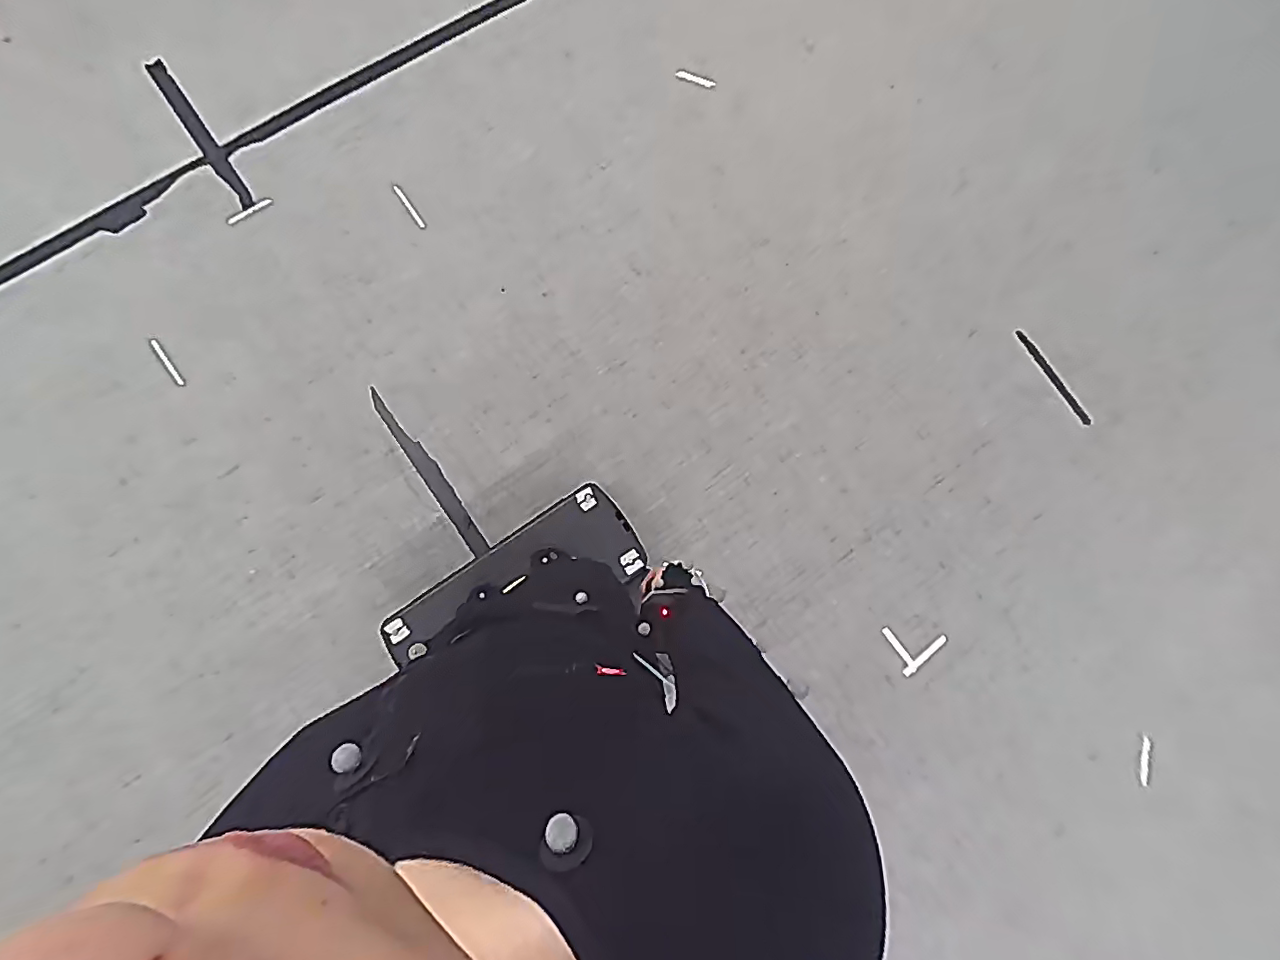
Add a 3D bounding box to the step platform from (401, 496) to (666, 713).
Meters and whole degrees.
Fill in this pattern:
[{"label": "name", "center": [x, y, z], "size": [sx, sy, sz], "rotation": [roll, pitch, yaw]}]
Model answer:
[{"label": "step platform", "center": [-0.269, 0.315, 1.450], "size": [0.684, 0.204, 0.286], "rotation": [-30, 87, -10]}]
